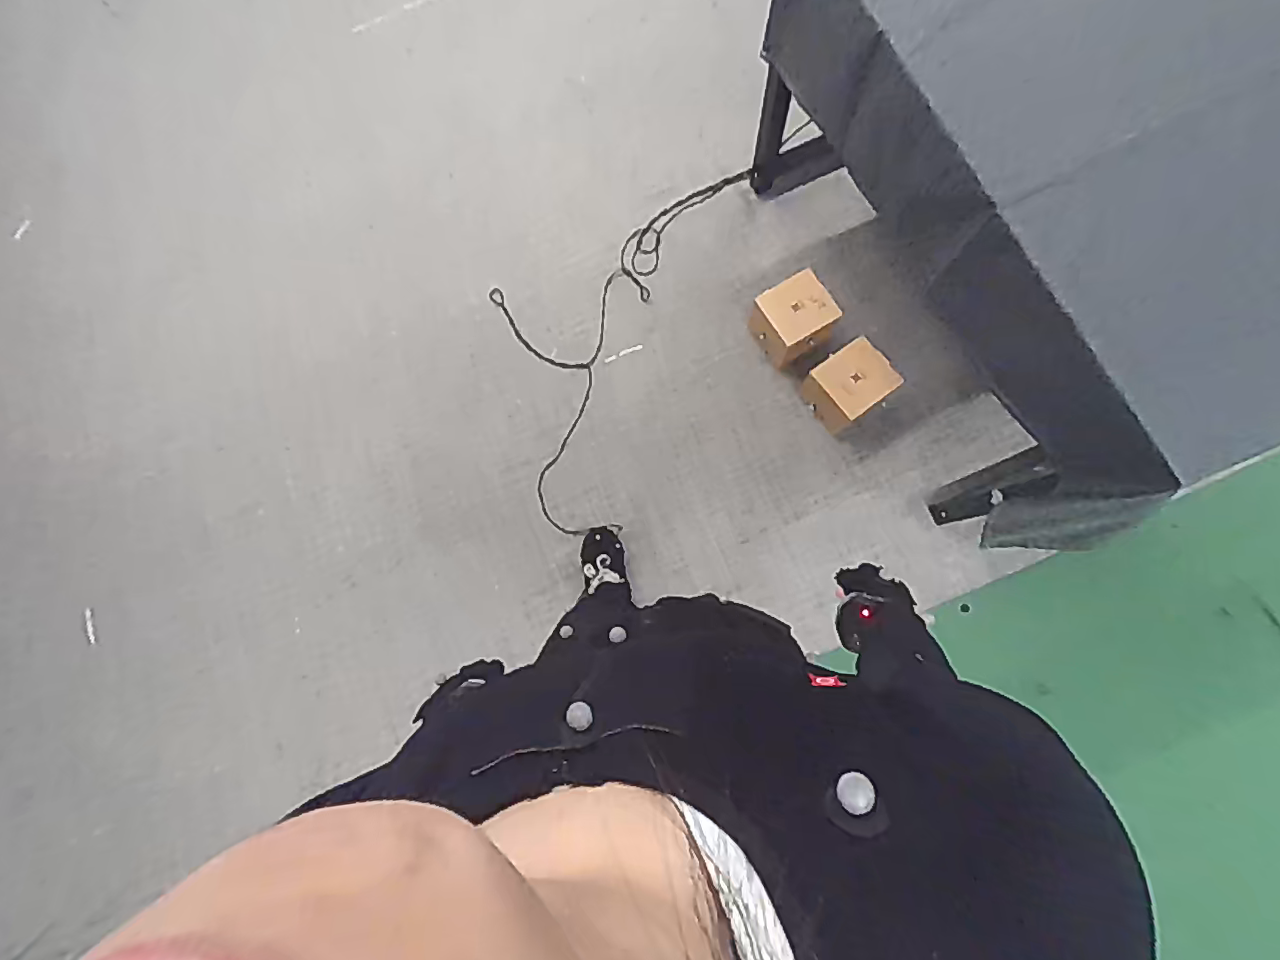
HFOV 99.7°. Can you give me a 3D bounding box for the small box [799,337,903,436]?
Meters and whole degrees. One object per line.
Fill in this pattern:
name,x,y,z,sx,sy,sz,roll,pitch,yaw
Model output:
small box,0.556,-0.246,1.456,0.179,0.176,0.168,-35,79,-3
